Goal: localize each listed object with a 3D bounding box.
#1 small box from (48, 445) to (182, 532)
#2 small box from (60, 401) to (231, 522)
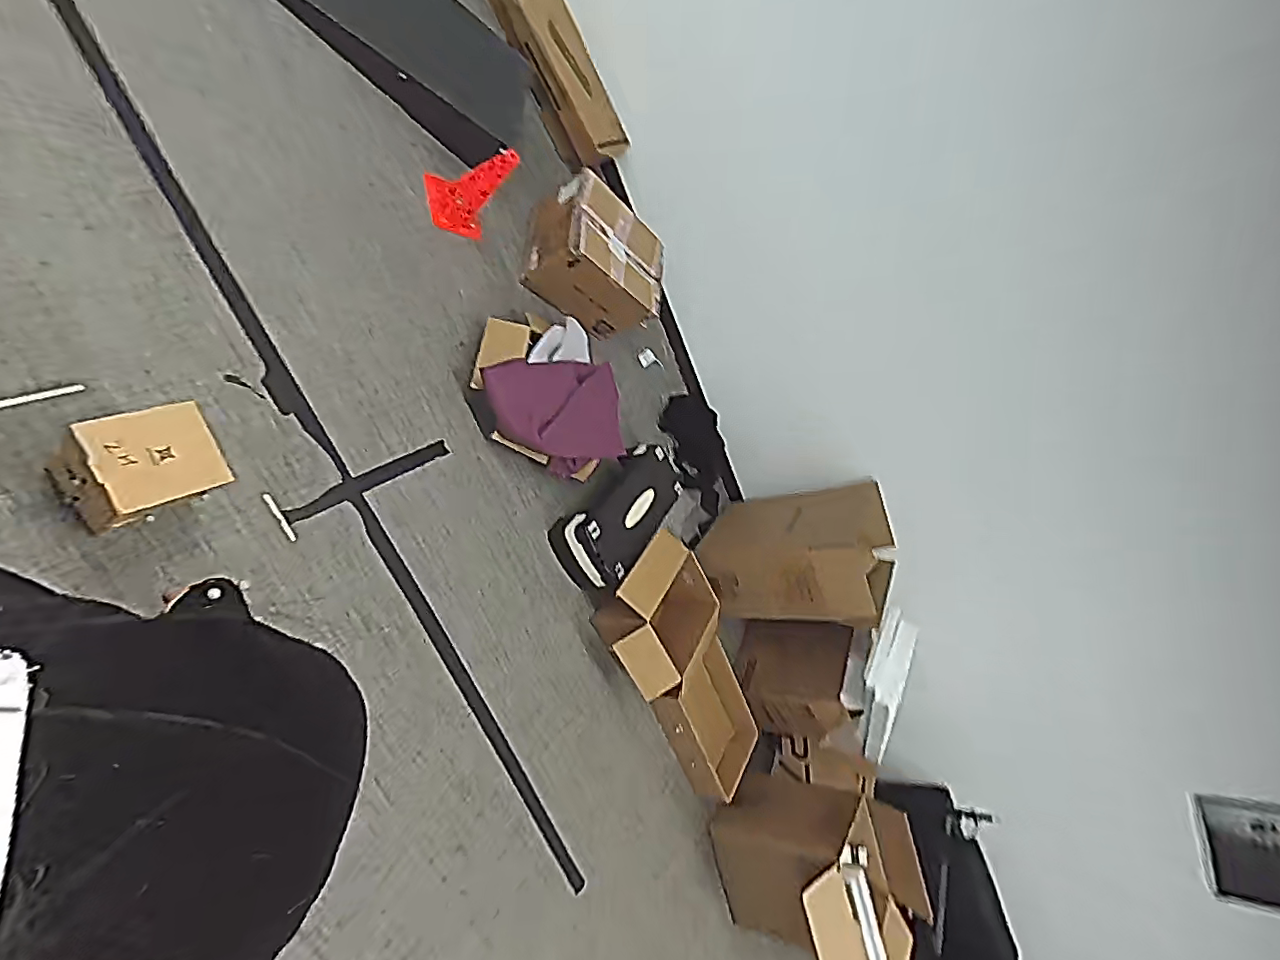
[{"bbox_3d":[-1.048,-0.006,1.104,0.179,0.176,0.168,-40,112,-48],"label":"small box"},{"bbox_3d":[-0.917,-0.034,1.006,0.179,0.176,0.168,-32,105,-50],"label":"small box"}]
